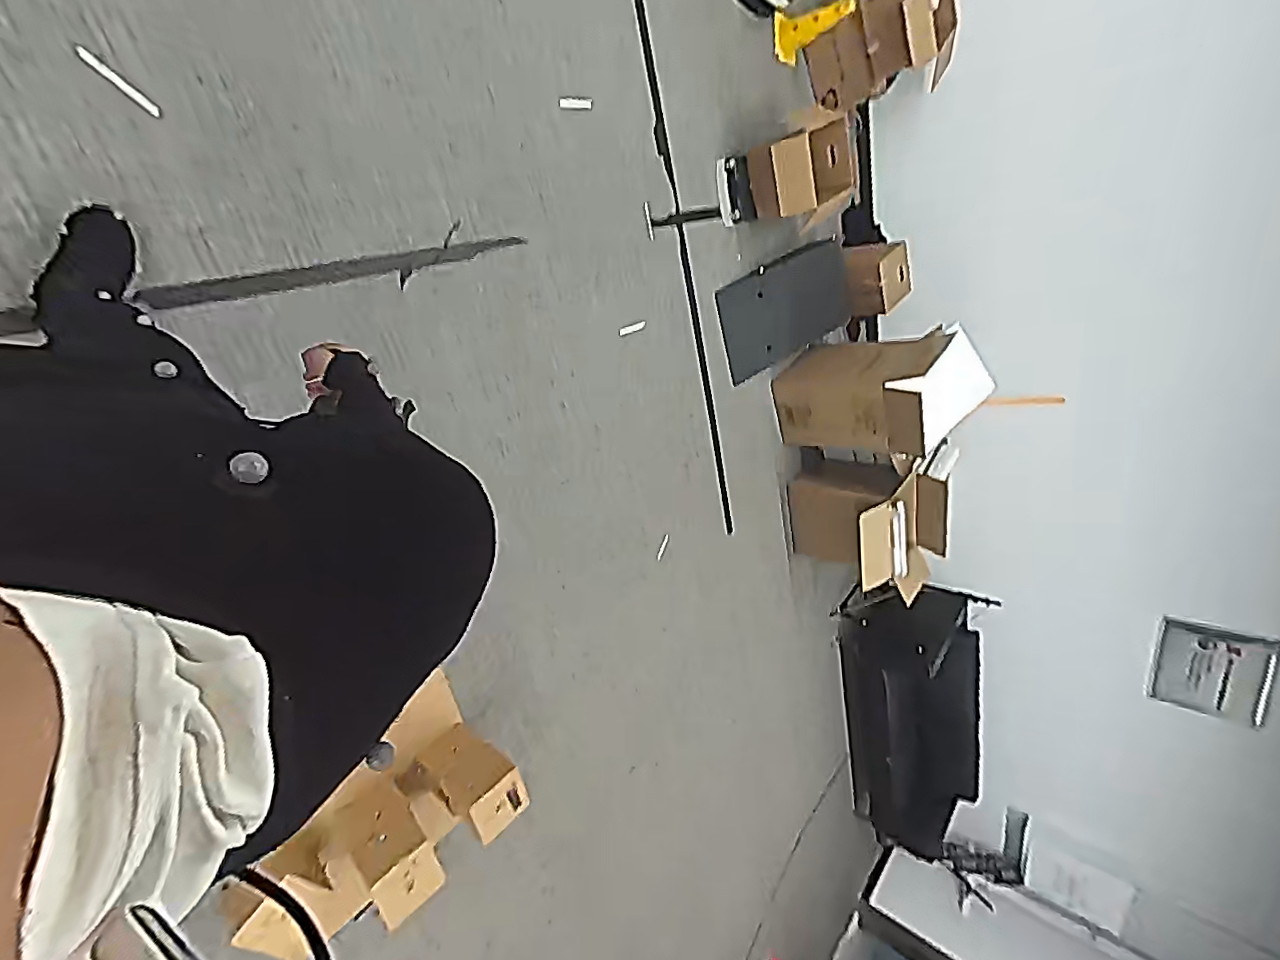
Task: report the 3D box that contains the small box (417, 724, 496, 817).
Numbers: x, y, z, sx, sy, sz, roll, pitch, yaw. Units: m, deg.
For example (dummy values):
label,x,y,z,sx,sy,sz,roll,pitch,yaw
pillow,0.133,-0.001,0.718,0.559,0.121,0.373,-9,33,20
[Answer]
label,x,y,z,sx,sy,sz,roll,pitch,yaw
small box,-0.617,0.959,1.797,0.179,0.176,0.168,-31,119,-41

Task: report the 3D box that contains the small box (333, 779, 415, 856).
label,x,y,z,sx,sy,sz,roll,pitch,yaw
small box,-0.798,1.054,1.627,0.179,0.176,0.168,-29,117,-40

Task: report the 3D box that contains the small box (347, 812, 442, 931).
label,x,y,z,sx,sy,sz,roll,pitch,yaw
small box,-0.685,1.080,1.509,0.168,0.176,0.179,-28,116,-40

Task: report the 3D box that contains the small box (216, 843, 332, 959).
label,x,y,z,sx,sy,sz,roll,pitch,yaw
small box,-0.979,1.117,1.445,0.168,0.176,0.179,-51,131,-29
